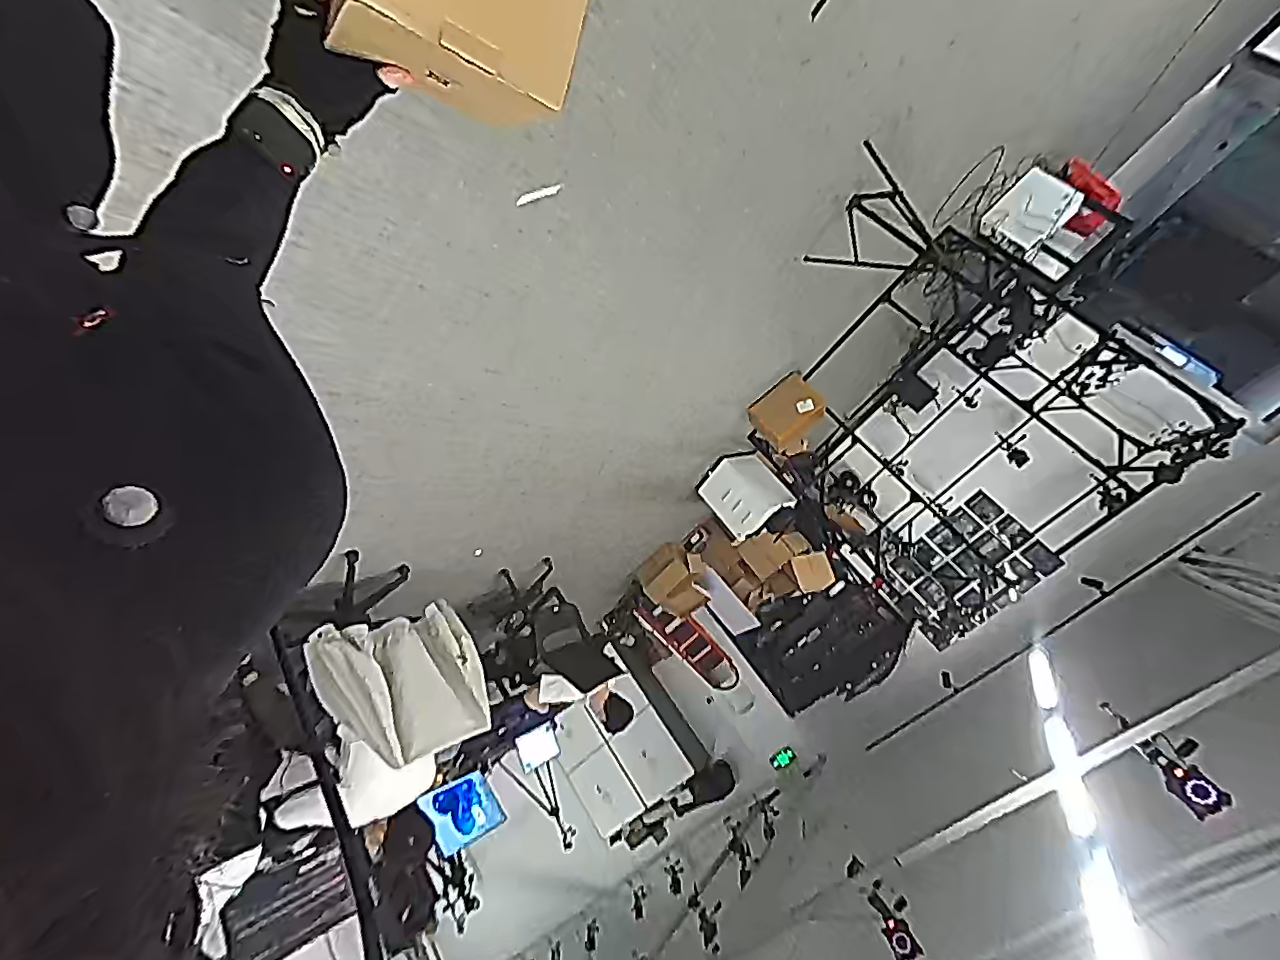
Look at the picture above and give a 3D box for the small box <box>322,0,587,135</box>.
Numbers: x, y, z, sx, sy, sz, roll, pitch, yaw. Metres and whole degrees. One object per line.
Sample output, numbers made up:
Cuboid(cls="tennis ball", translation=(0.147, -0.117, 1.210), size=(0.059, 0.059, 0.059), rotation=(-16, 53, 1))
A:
Cuboid(cls="small box", translation=(-0.153, -0.424, 0.455), size=(0.168, 0.179, 0.176), rotation=(6, 110, -40))
